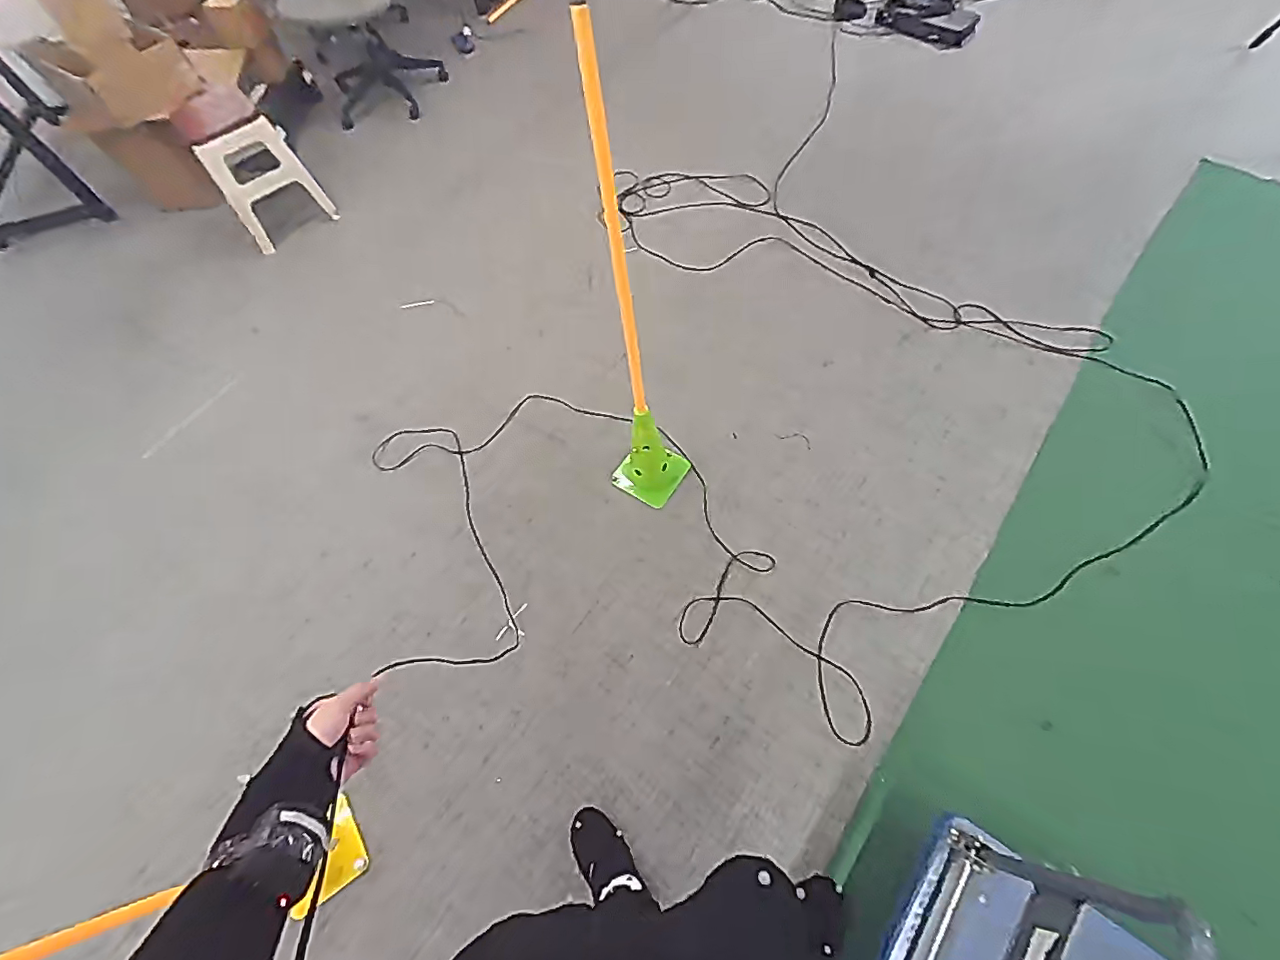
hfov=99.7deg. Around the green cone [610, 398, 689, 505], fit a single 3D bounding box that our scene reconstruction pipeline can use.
[{"bbox_3d":[0.019,-0.114,1.586,0.200,0.368,0.202,29,67,18],"label":"green cone"}]
